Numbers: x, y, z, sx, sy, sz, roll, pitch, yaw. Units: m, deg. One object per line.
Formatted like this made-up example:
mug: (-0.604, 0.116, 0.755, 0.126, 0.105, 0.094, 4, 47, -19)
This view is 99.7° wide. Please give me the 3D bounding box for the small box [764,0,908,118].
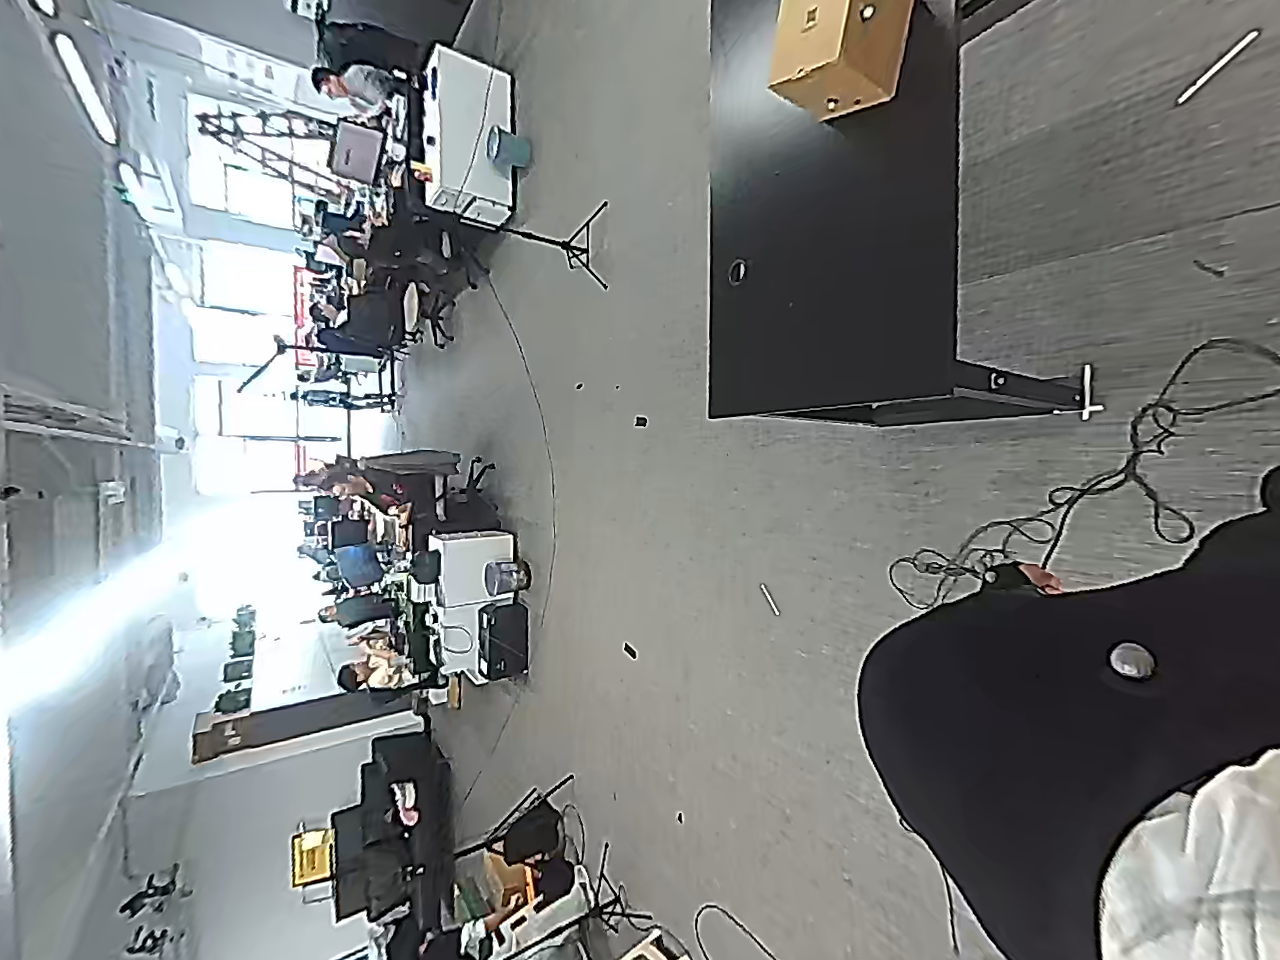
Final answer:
small box: (0.357, -0.802, 0.984, 0.168, 0.176, 0.179, 26, 113, 53)
